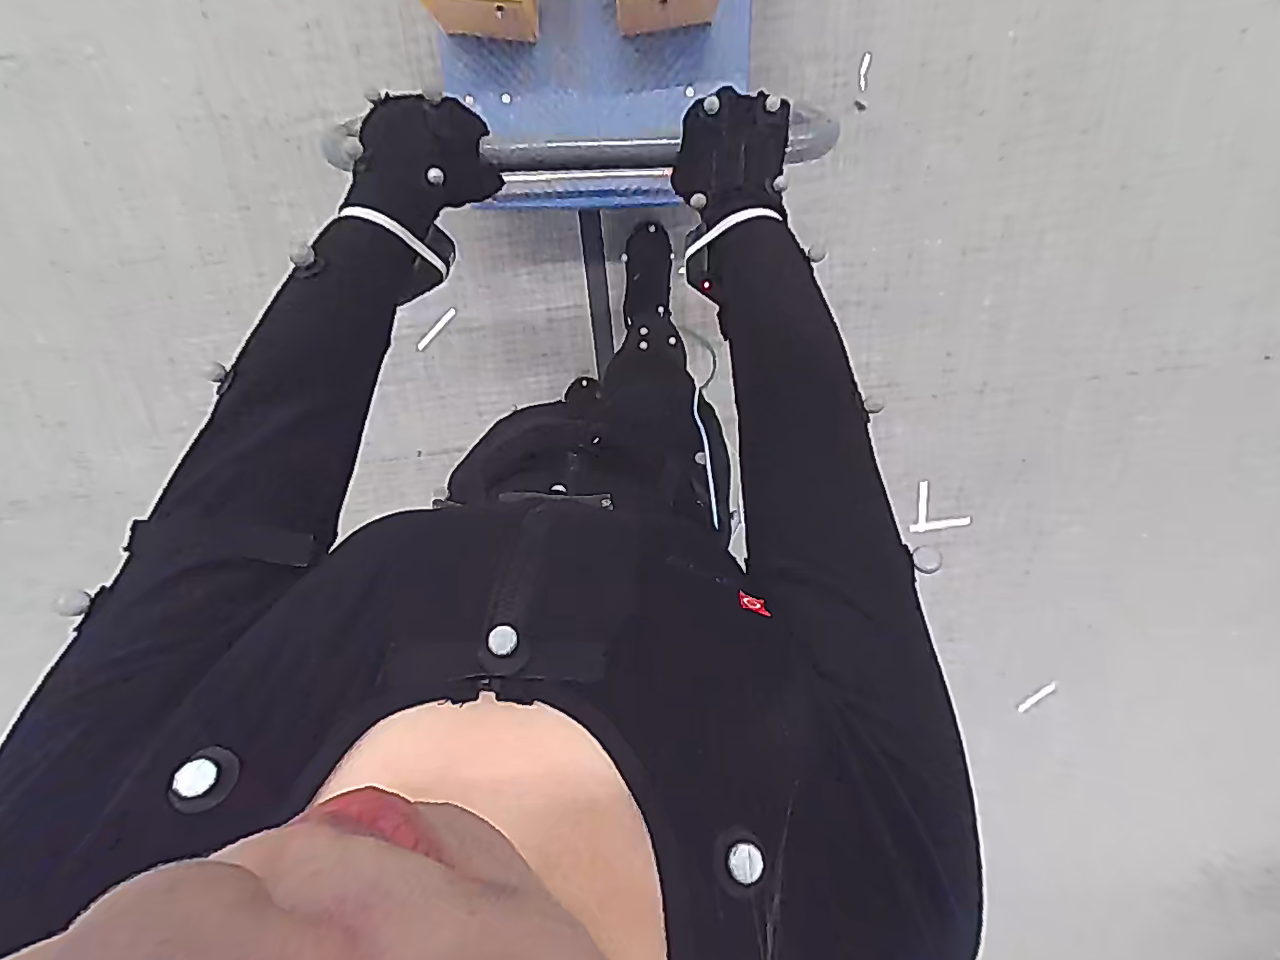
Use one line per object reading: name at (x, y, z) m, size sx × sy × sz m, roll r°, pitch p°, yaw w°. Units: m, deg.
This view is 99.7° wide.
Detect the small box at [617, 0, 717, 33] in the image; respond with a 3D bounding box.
small box at (0.041, -0.875, 0.890) m, size 0.179 × 0.176 × 0.168 m, roll -7°, pitch 113°, yaw 2°

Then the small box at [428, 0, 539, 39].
small box at (-0.265, -0.861, 0.891) m, size 0.179 × 0.176 × 0.168 m, roll 3°, pitch 112°, yaw -4°
